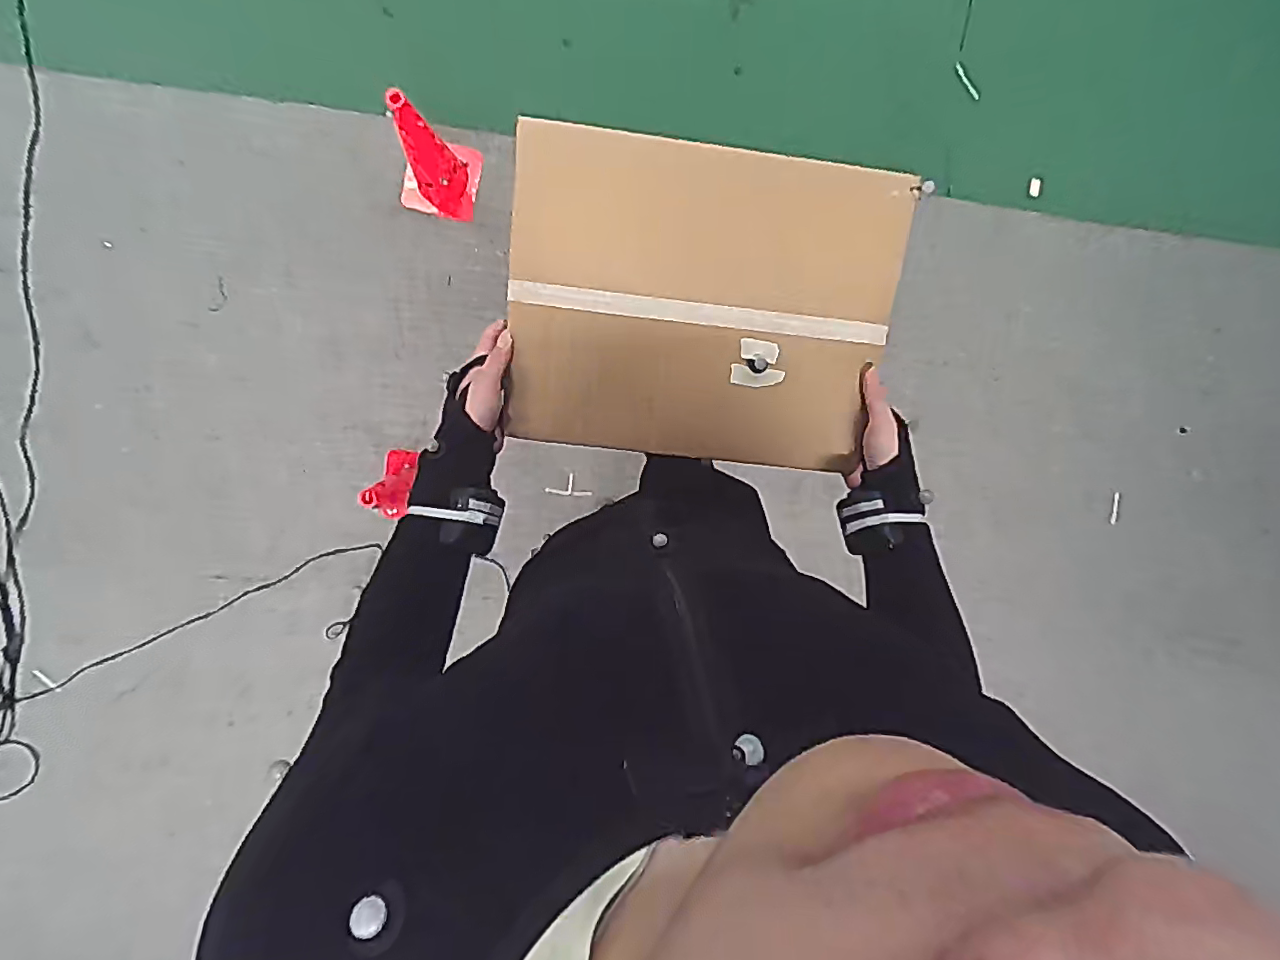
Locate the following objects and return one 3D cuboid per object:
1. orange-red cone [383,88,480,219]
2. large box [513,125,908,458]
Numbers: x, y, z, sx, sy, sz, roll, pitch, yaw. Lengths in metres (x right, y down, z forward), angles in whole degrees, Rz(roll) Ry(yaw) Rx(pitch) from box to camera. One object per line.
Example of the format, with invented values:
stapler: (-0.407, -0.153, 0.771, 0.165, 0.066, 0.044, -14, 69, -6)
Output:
orange-red cone: (-0.550, -0.835, 1.341, 0.199, 0.360, 0.198, 13, 92, -4)
large box: (0.057, -0.225, 0.723, 0.408, 0.320, 0.320, 5, 106, -5)
